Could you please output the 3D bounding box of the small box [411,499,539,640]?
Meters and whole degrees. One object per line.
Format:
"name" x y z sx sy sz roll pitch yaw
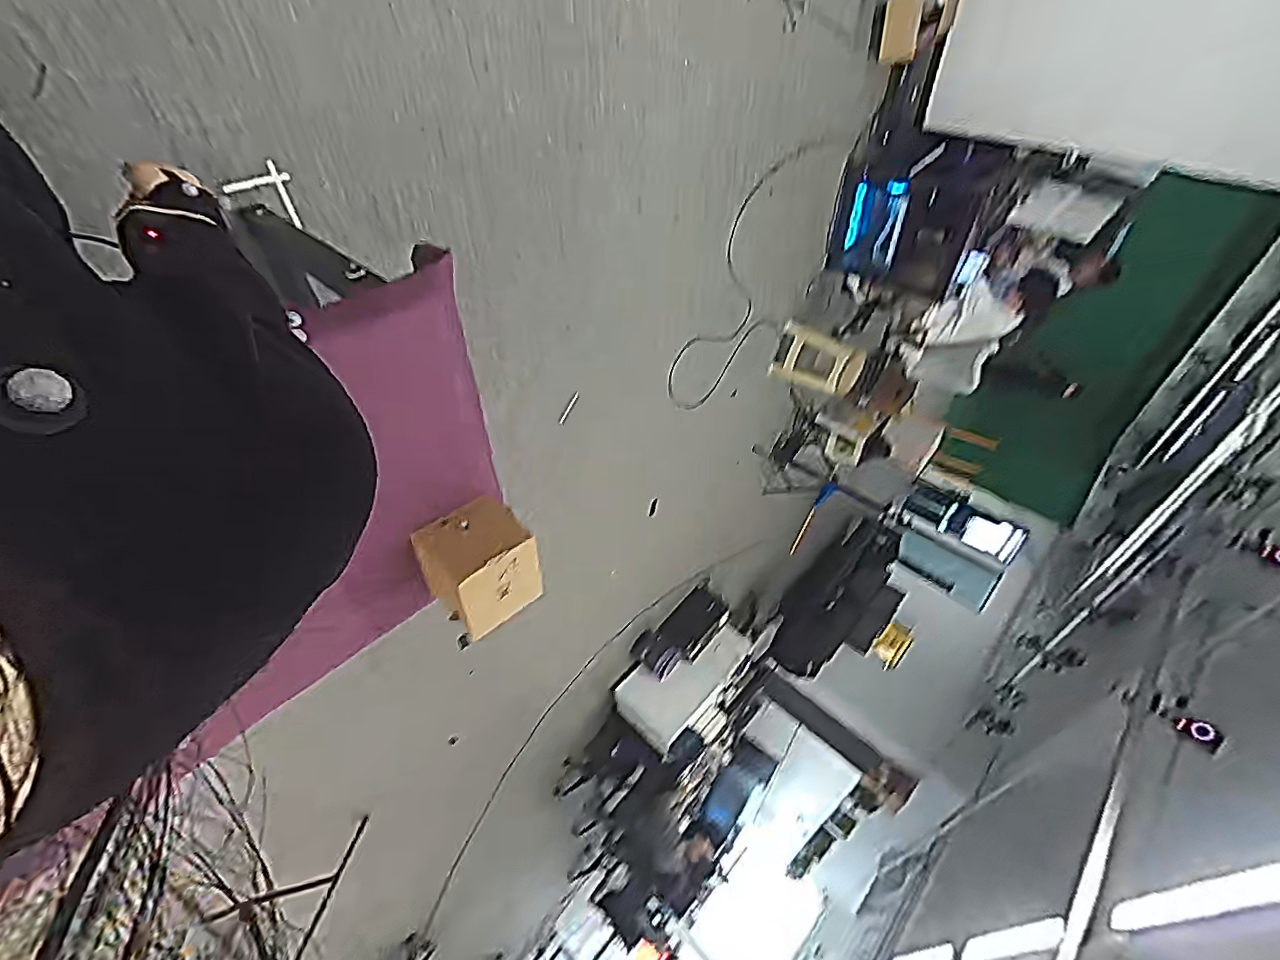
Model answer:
"small box" -0.322 0.170 1.067 0.168 0.176 0.179 -33 141 -35
